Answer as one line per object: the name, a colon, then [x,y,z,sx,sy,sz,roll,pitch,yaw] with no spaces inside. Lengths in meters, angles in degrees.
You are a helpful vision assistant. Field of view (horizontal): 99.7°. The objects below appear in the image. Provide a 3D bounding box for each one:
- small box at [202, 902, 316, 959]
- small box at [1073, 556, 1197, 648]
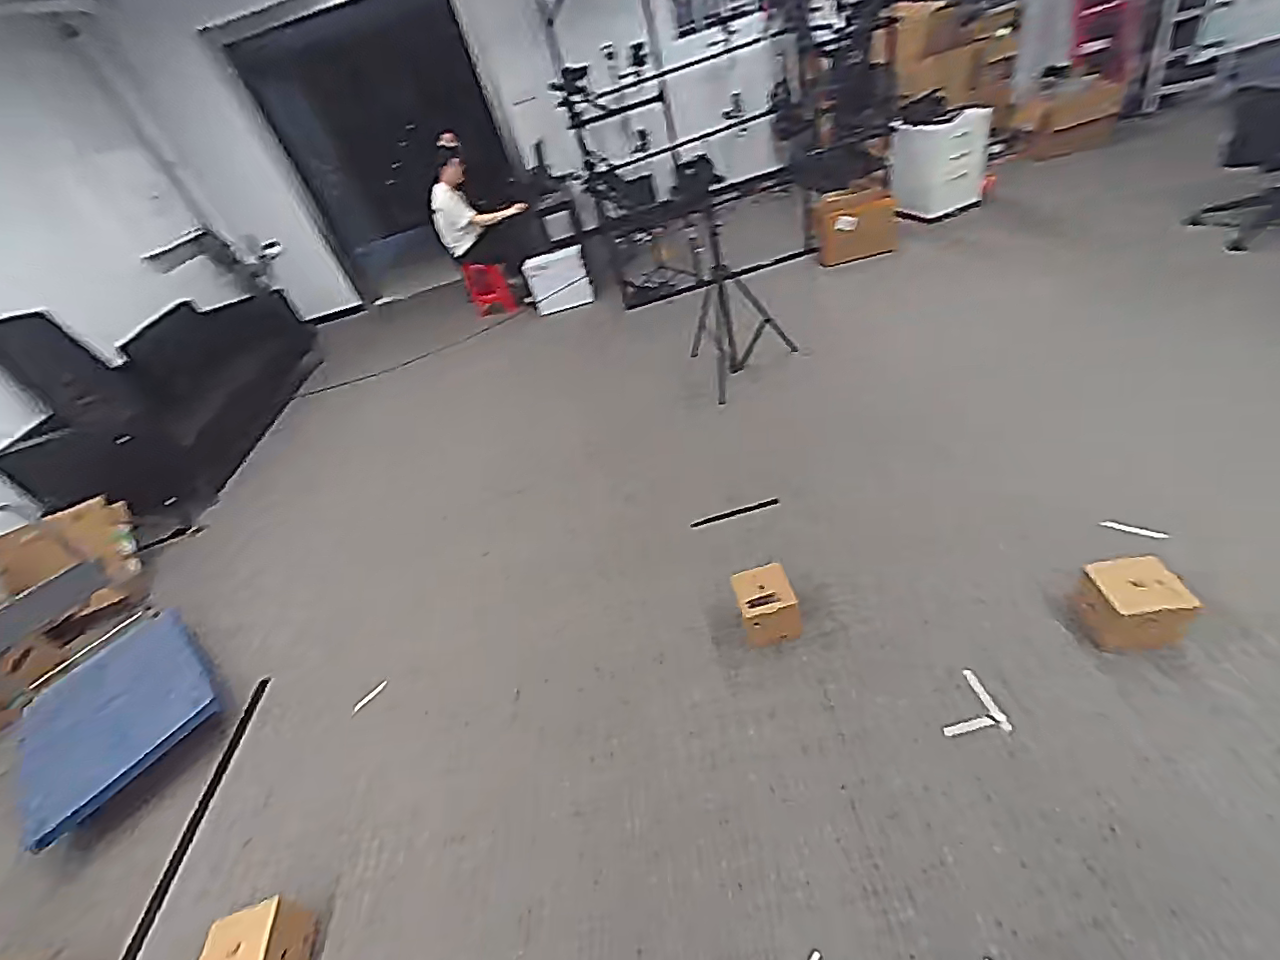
small box: [-0.943,1.184,1.332,0.179,0.176,0.168,-21,38,-1]
small box: [1.292,0.327,1.433,0.179,0.176,0.168,-10,39,11]
